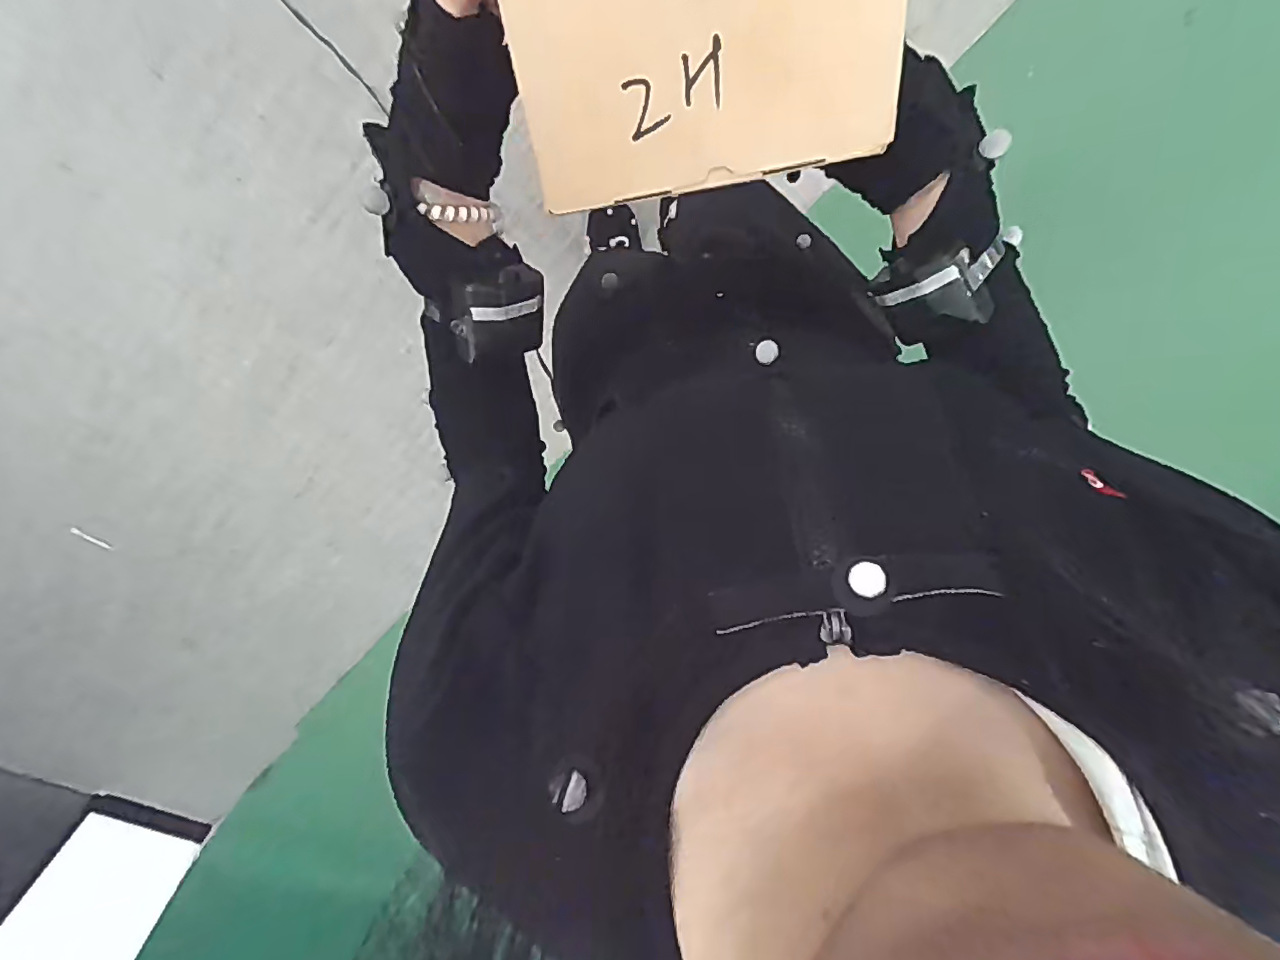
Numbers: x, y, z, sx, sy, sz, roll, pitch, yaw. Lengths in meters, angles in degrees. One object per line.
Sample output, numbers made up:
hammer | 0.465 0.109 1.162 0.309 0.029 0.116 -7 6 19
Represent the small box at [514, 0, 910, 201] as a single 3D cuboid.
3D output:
small box | 0.020 -0.261 0.272 0.168 0.176 0.179 -10 126 1
